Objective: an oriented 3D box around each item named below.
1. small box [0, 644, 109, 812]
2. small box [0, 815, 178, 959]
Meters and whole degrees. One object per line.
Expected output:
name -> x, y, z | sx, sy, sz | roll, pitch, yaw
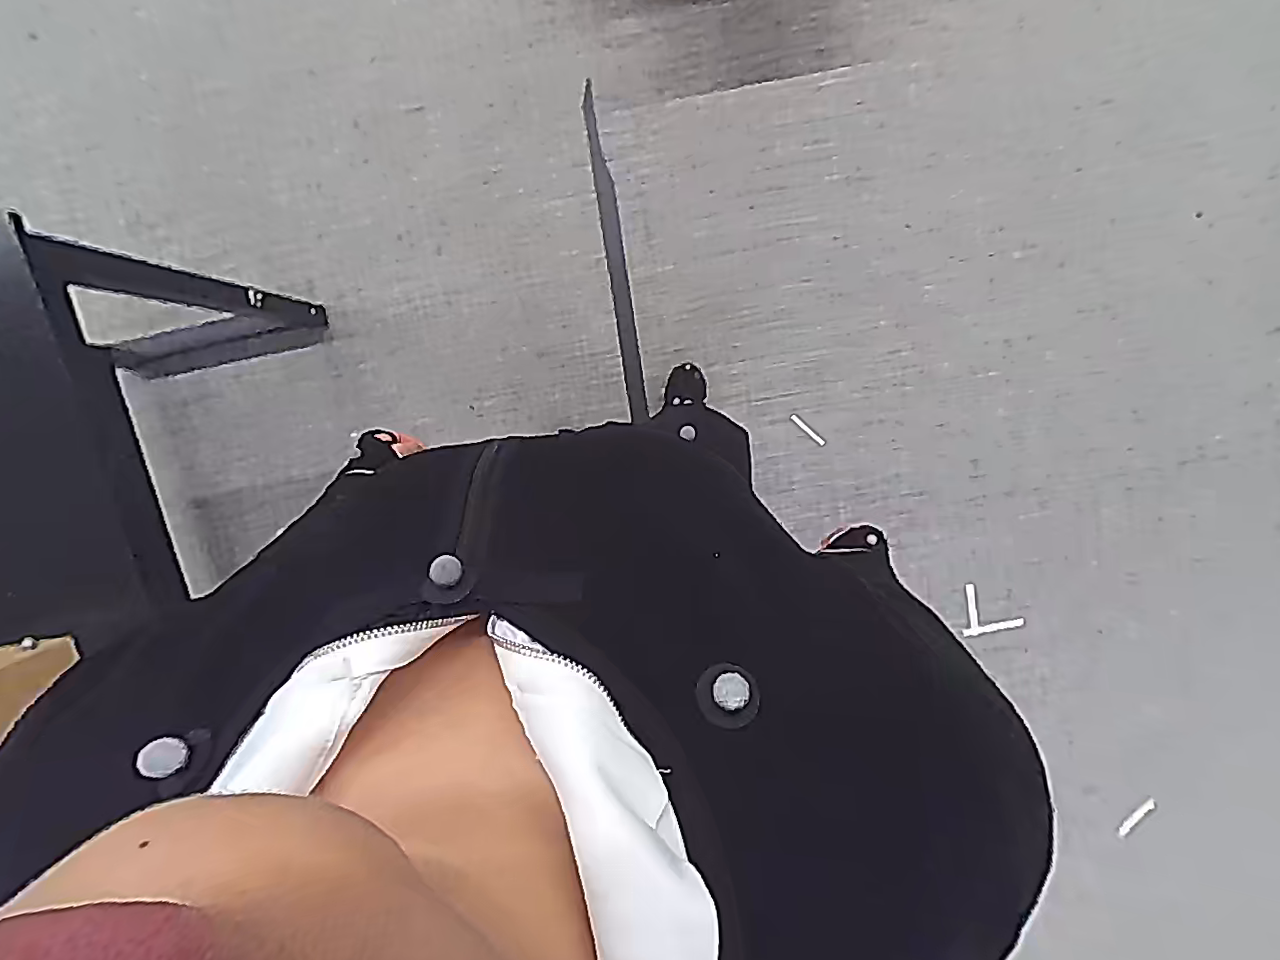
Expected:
small box -> -0.907, 0.342, 0.744 | 0.168, 0.176, 0.179 | -9, 100, 3
small box -> -0.844, 0.626, 0.791 | 0.168, 0.176, 0.179 | -13, 99, 4
